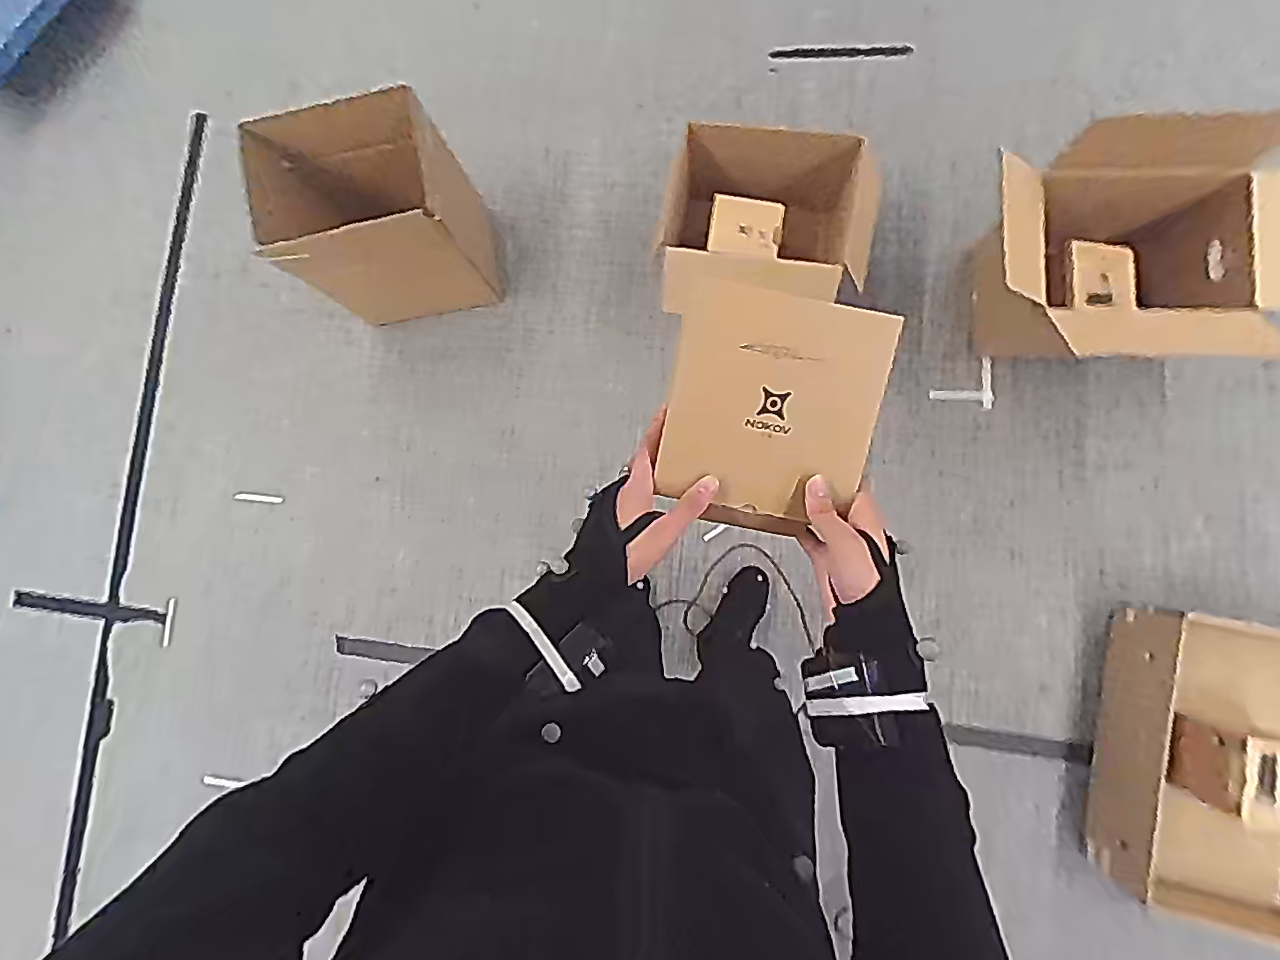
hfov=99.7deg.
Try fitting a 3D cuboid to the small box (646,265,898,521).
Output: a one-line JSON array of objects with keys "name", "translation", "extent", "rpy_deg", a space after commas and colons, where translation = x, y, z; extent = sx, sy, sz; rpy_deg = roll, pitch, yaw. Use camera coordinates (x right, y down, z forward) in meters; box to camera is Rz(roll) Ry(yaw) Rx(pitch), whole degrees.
[{"name": "small box", "translation": [0.104, -0.078, 0.501], "extent": [0.168, 0.176, 0.179], "rpy_deg": [10, 99, 0]}]
